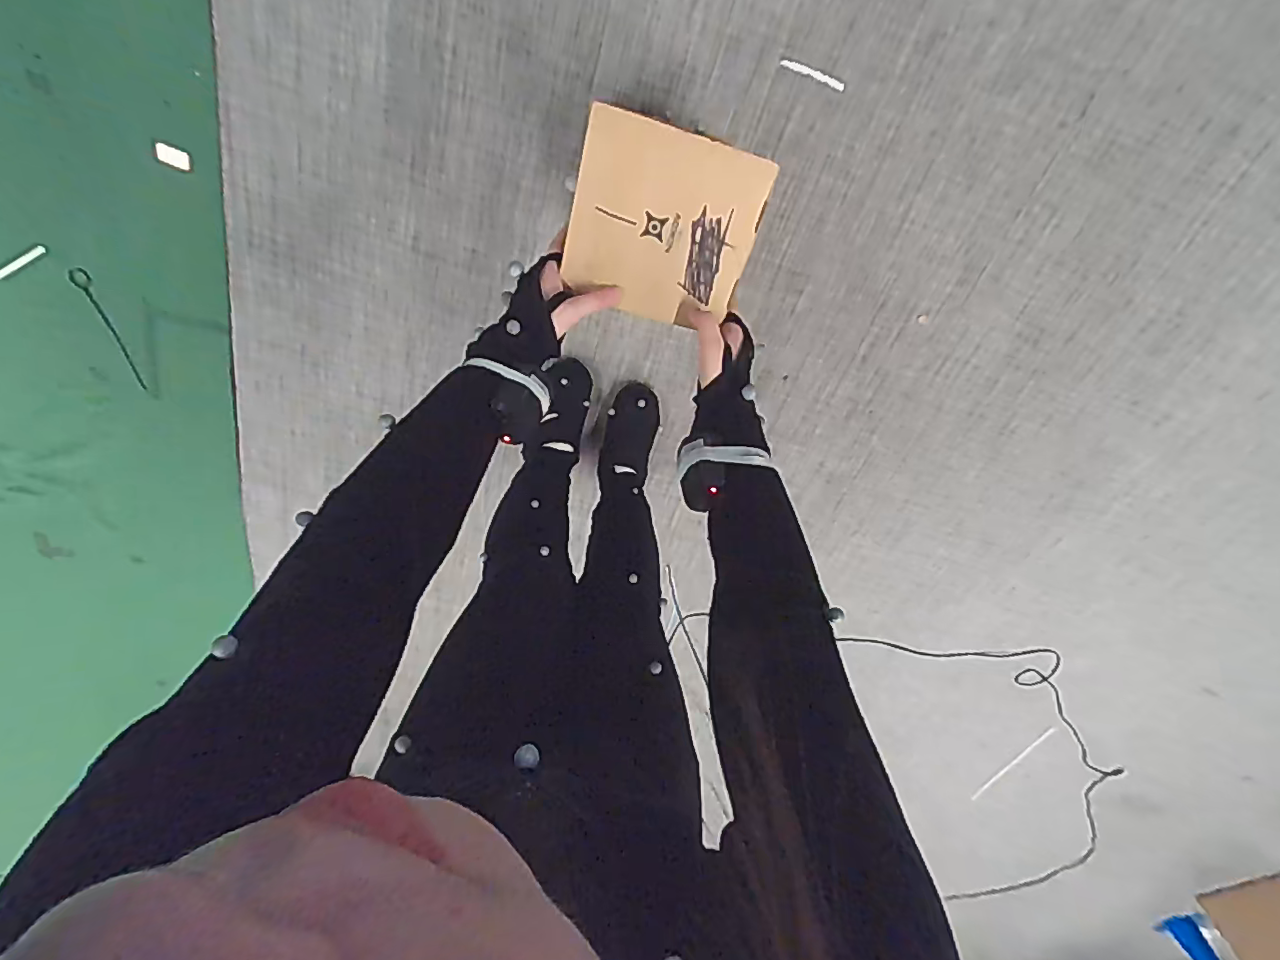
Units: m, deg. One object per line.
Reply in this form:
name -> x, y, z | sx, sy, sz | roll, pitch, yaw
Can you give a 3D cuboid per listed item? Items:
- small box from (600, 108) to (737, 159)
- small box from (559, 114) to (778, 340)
small box -> 0.012, -0.370, 0.722 | 0.168, 0.176, 0.179 | 11, 122, -8
small box -> 0.021, -0.276, 0.587 | 0.179, 0.176, 0.168 | 13, 121, -9
